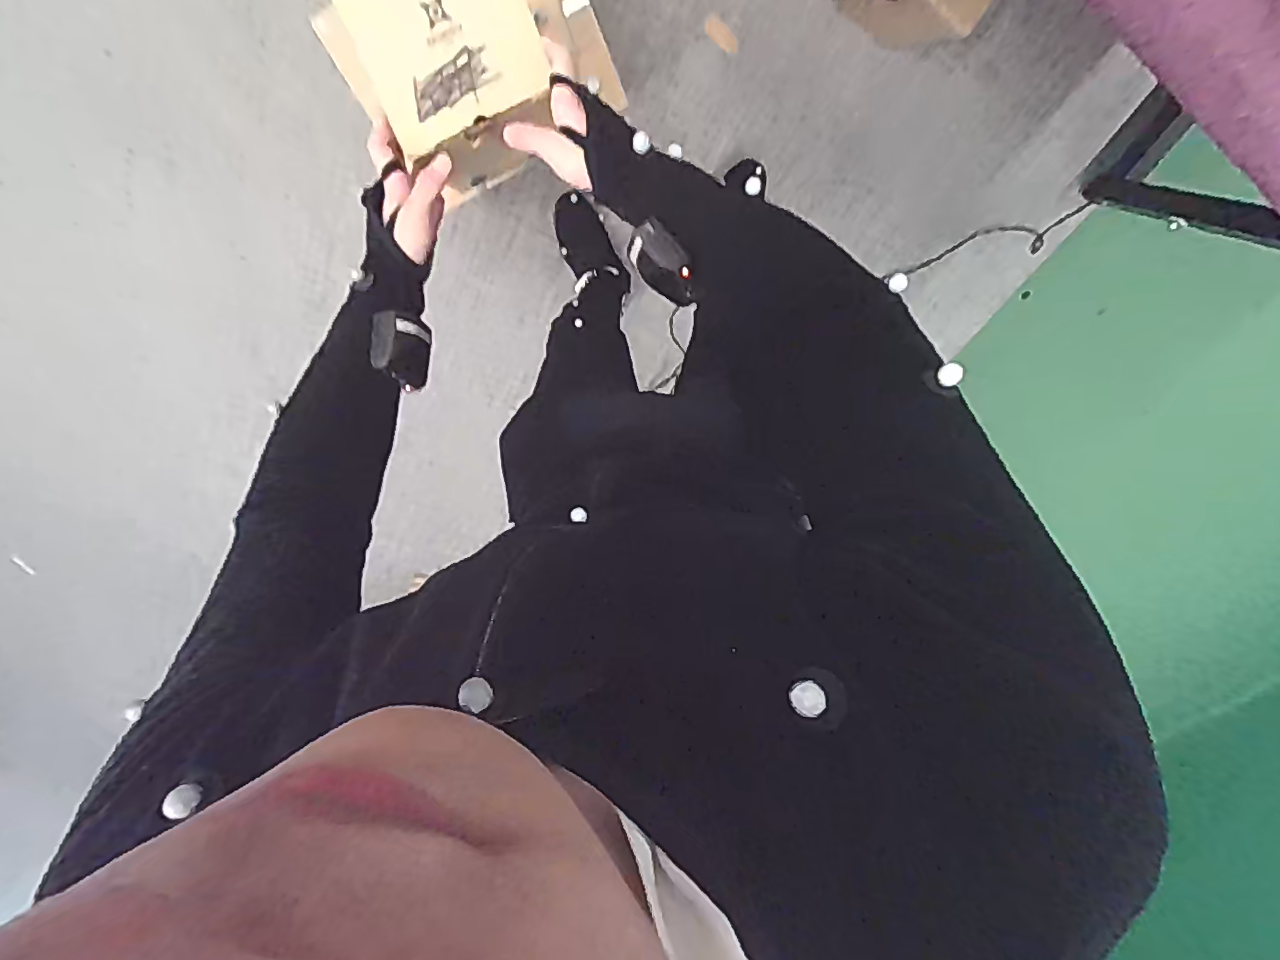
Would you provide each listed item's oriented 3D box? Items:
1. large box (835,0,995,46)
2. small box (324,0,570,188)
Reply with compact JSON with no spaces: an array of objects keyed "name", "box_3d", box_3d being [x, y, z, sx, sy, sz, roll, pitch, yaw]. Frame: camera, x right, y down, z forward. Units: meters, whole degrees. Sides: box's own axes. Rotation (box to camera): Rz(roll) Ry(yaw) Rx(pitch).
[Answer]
[{"name":"large box","box_3d":[0.494,-1.020,0.872,0.320,0.320,0.408,21,121,-20]},{"name":"small box","box_3d":[-0.184,-0.428,0.560,0.168,0.176,0.179,-21,105,6]}]
